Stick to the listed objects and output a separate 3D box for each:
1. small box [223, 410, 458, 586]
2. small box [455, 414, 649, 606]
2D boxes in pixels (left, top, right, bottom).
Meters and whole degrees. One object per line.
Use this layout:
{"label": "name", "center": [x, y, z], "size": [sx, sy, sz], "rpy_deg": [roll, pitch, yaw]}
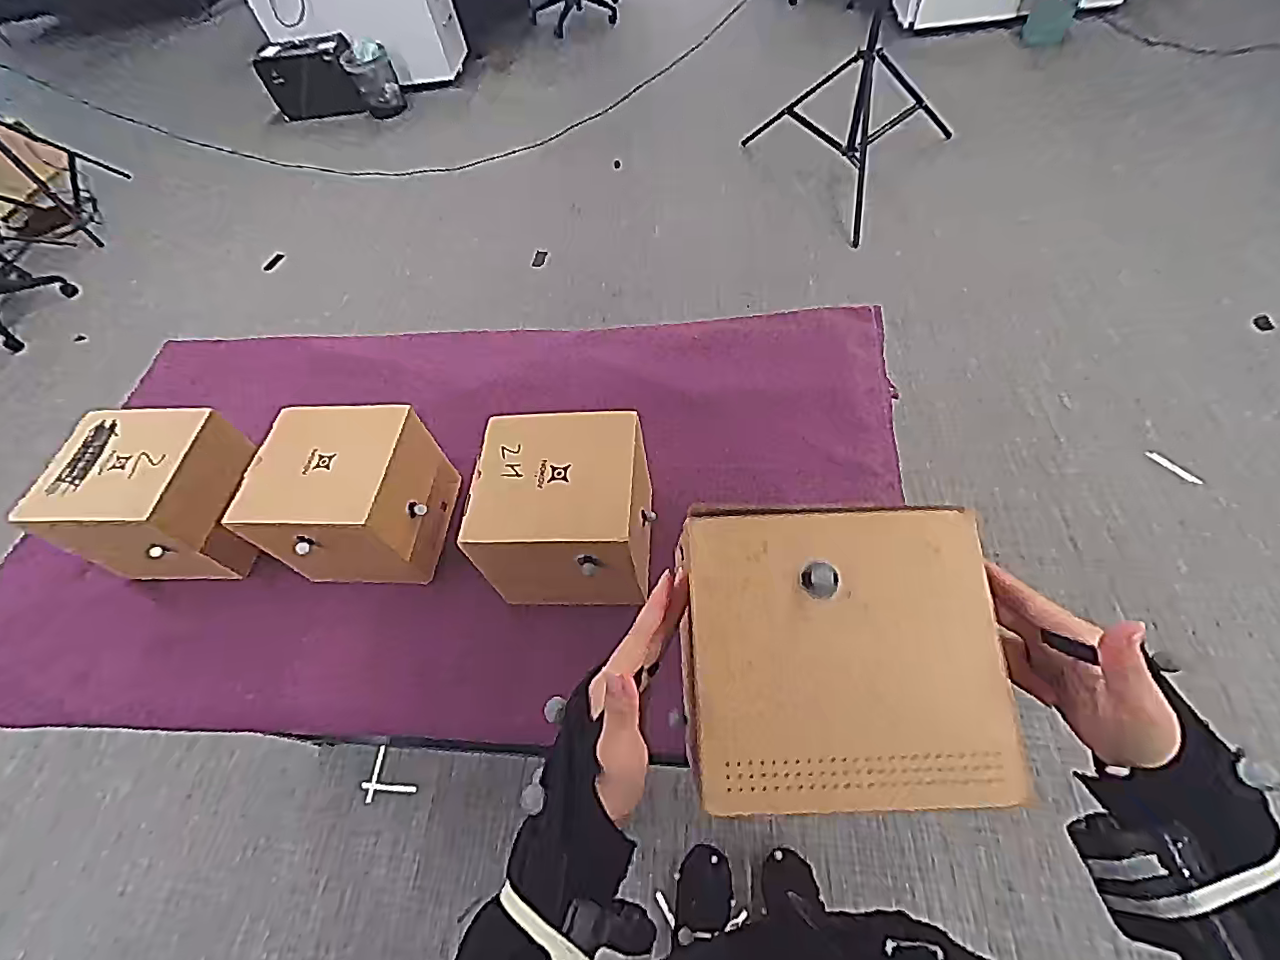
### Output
{"label": "small box", "center": [-0.357, 0.027, 0.689], "size": [0.179, 0.176, 0.168], "rpy_deg": [-1, 57, 8]}
{"label": "small box", "center": [-0.084, 0.041, 0.635], "size": [0.179, 0.176, 0.168], "rpy_deg": [-2, 55, 8]}
